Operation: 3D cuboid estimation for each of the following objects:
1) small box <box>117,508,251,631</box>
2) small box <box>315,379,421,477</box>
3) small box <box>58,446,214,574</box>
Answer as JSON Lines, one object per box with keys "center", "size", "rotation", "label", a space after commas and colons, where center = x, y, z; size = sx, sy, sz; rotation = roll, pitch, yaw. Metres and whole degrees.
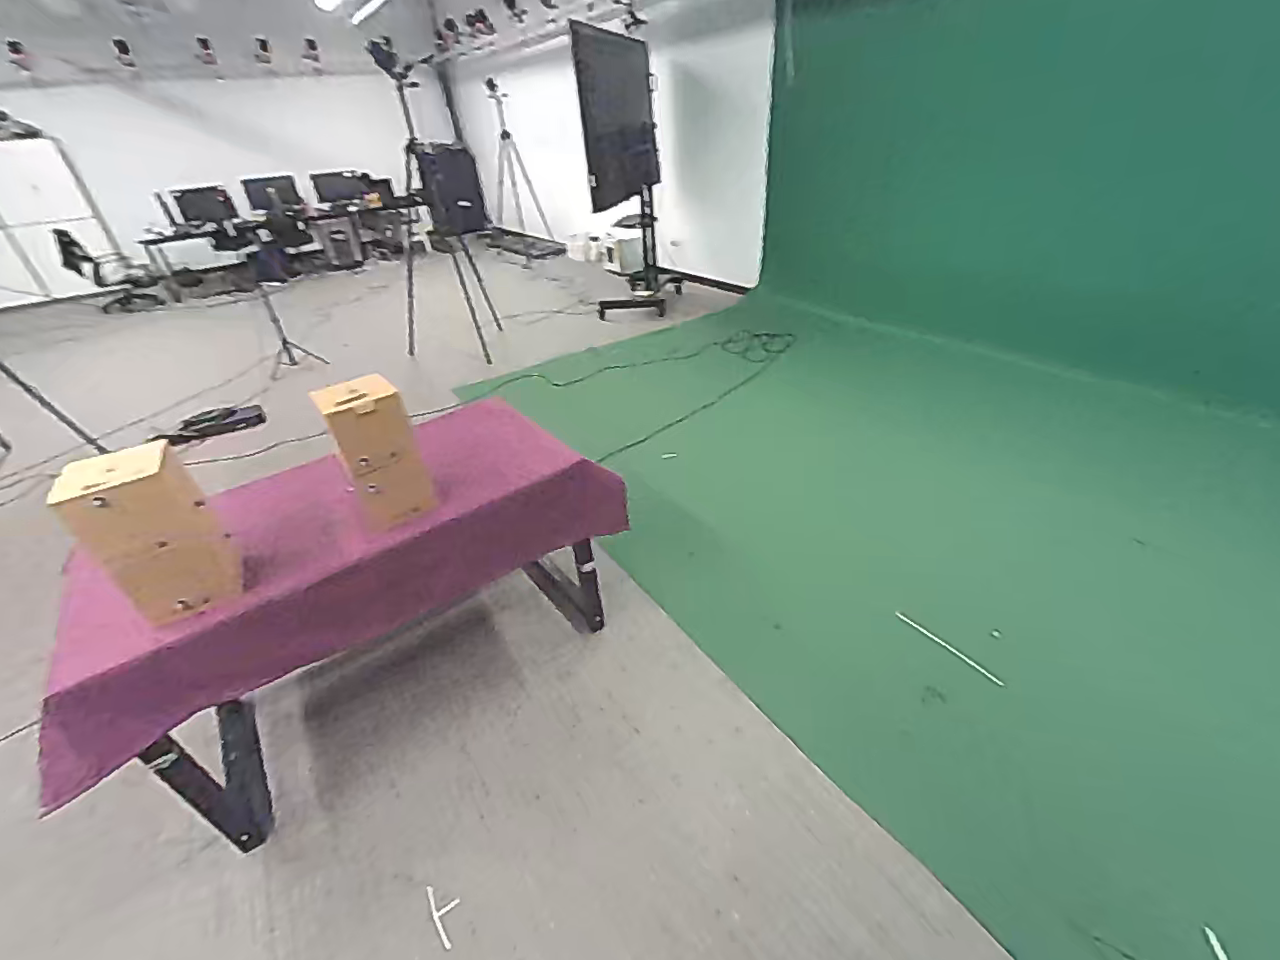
{"center": [-0.991, 0.196, 1.192], "size": [0.168, 0.176, 0.179], "rotation": [-23, 38, -23], "label": "small box"}
{"center": [-0.661, -0.126, 1.324], "size": [0.168, 0.176, 0.179], "rotation": [-27, 37, -29], "label": "small box"}
{"center": [-1.006, 0.059, 1.101], "size": [0.168, 0.176, 0.179], "rotation": [-24, 37, -23], "label": "small box"}
